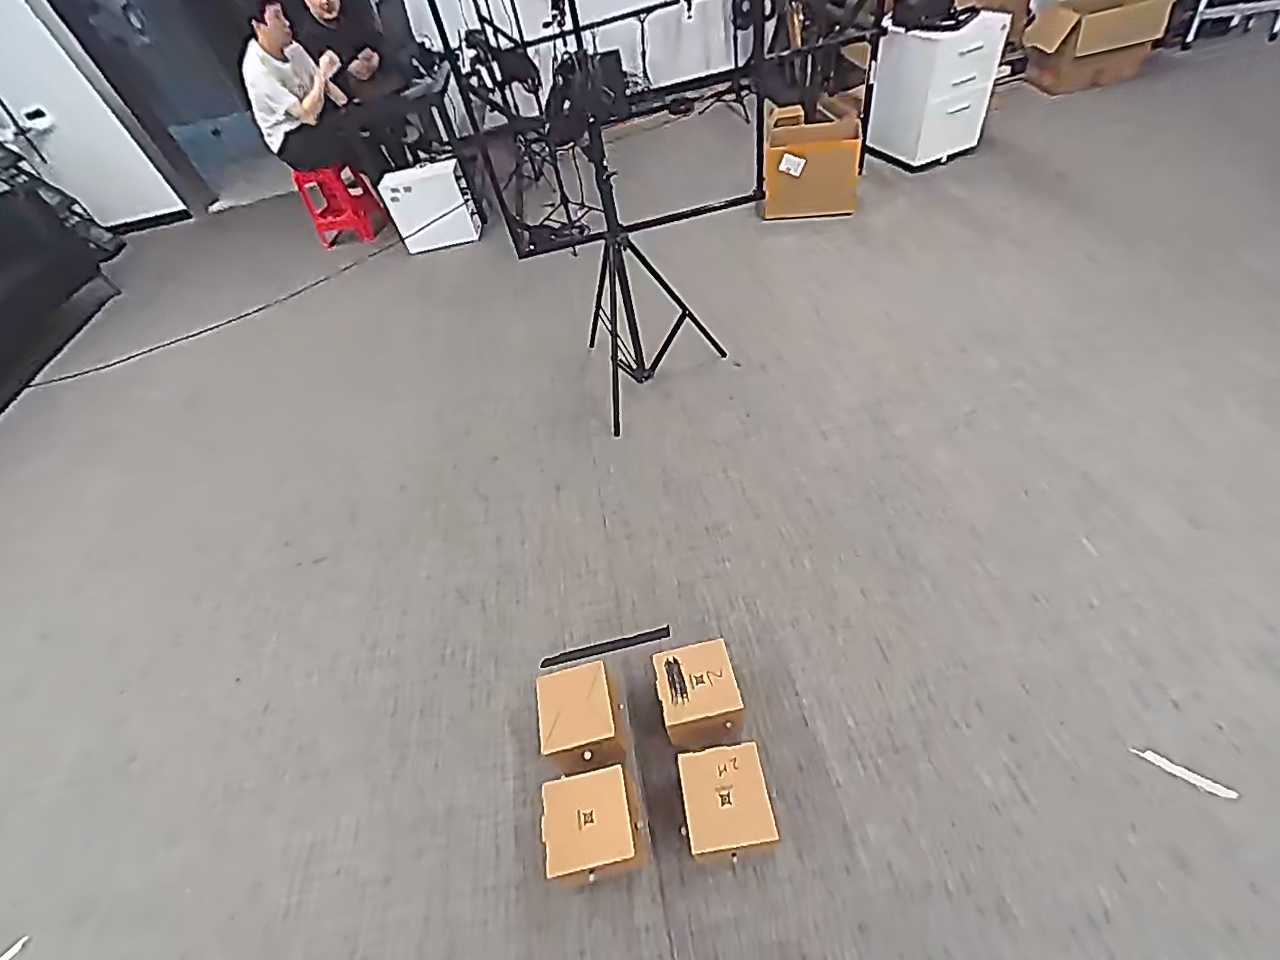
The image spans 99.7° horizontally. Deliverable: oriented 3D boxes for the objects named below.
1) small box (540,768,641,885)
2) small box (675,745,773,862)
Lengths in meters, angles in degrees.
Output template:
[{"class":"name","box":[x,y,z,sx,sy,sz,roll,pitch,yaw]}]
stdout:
[{"class":"small box","box":[-0.099,0.729,1.135,0.179,0.176,0.168,-14,48,0]},{"class":"small box","box":[0.173,0.675,1.120,0.168,0.176,0.179,-11,48,2]}]
